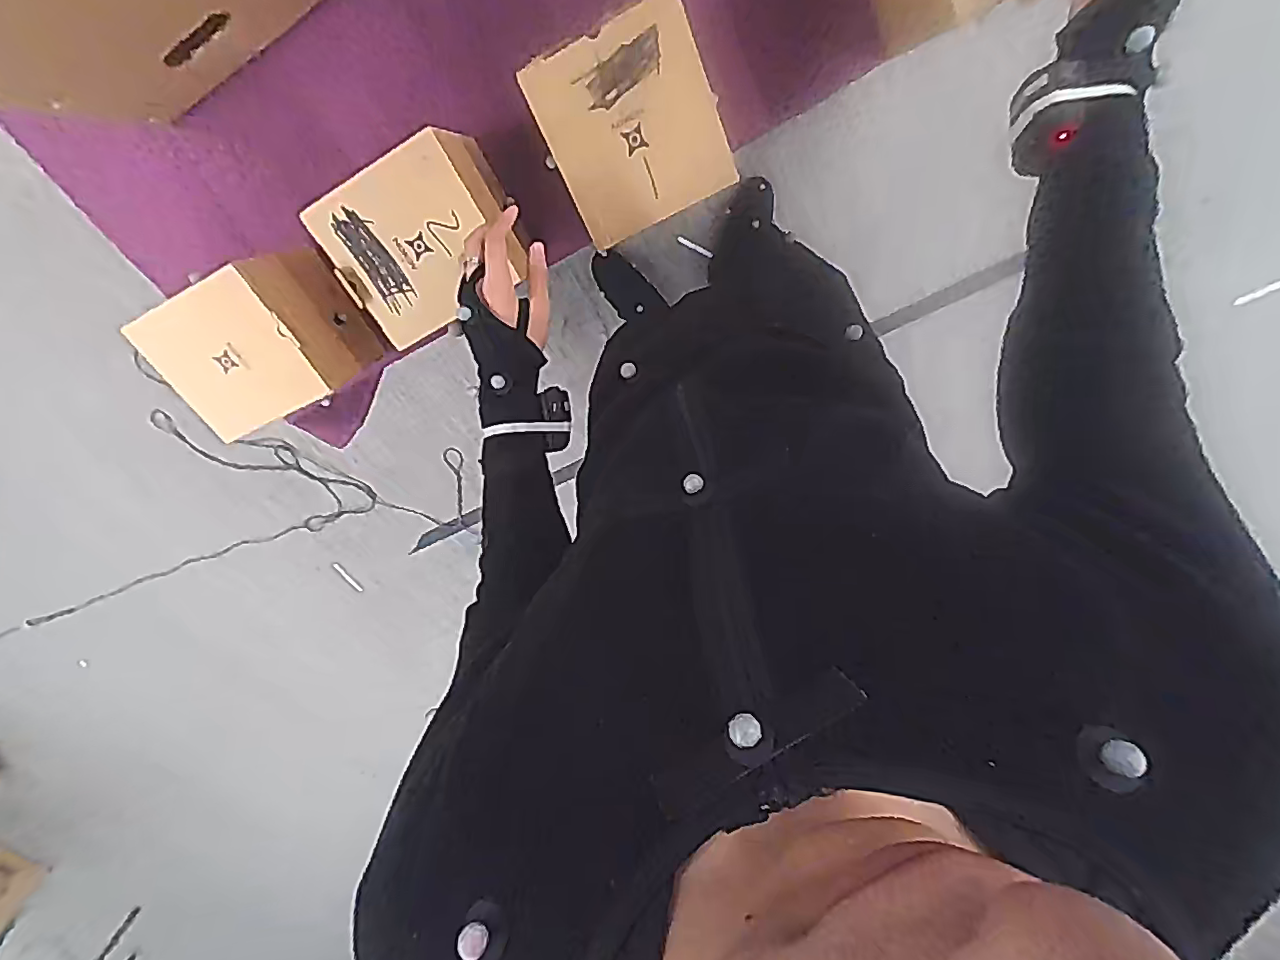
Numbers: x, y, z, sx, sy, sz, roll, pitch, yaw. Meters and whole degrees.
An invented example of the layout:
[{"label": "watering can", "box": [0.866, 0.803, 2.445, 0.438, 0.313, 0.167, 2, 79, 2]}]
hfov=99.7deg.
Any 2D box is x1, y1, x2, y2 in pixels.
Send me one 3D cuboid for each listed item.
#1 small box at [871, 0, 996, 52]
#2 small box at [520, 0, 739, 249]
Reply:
[{"label": "small box", "box": [0.314, -0.551, 0.505, 0.168, 0.176, 0.179, -26, 116, 15]}, {"label": "small box", "box": [-0.008, -0.384, 0.600, 0.168, 0.176, 0.179, -22, 118, 12]}]
